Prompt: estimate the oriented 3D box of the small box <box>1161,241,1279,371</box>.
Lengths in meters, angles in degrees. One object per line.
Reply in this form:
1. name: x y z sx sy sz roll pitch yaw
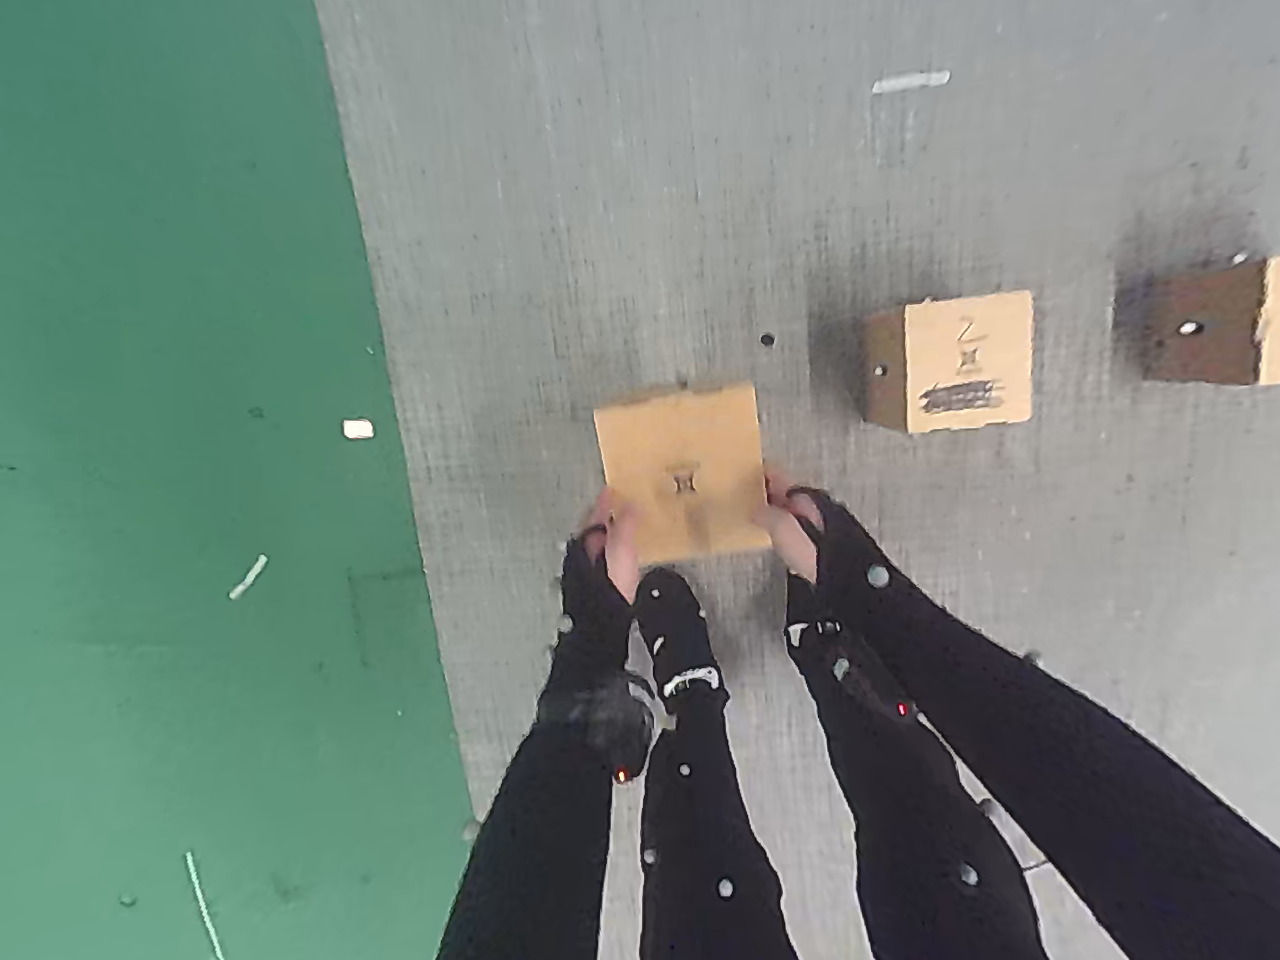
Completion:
1. small box: 0.896 -0.243 0.759 0.179 0.176 0.168 -6 103 5
